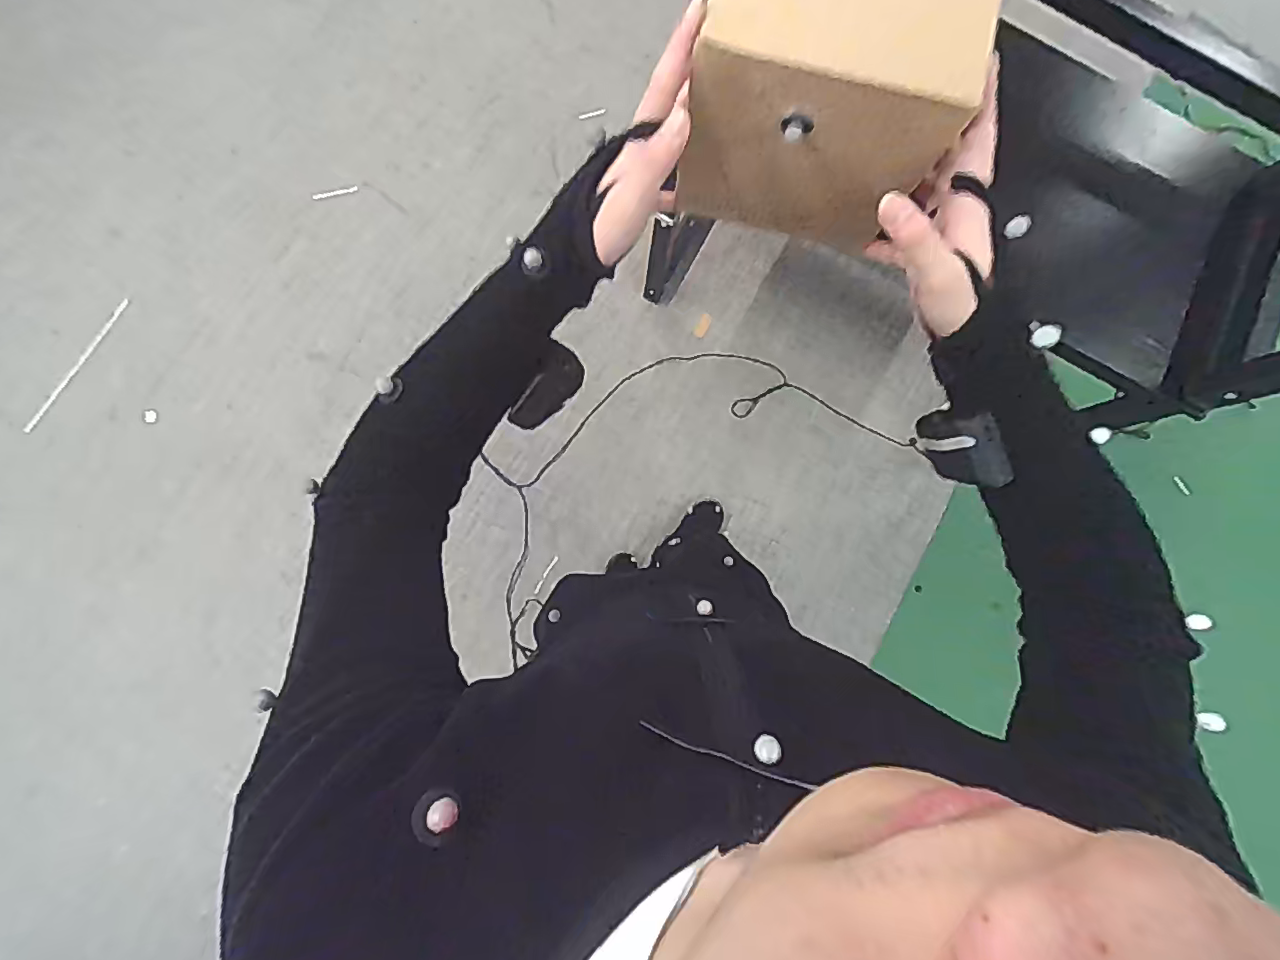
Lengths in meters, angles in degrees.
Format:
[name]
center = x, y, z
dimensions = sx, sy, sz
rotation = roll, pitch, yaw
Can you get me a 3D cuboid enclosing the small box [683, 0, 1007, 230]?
[small box]
center = 0.135, -0.314, 0.398
dimensions = 0.179, 0.176, 0.168
rotation = 13, 86, 0
